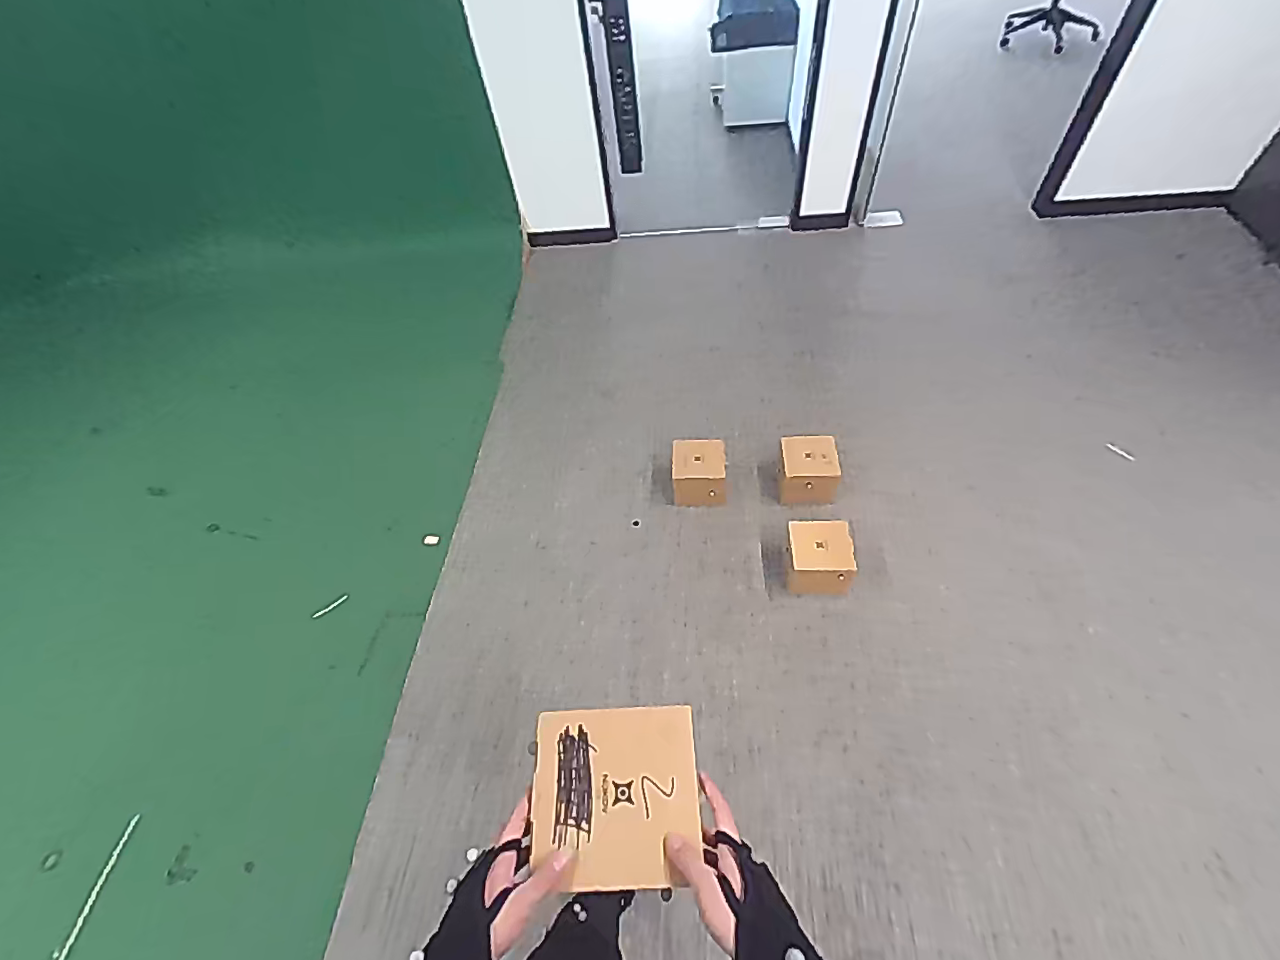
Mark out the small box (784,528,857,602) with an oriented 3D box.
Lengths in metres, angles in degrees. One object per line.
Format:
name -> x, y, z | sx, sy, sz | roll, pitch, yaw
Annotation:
small box -> 0.532, 0.257, 1.624 | 0.179, 0.176, 0.168 | 0, 53, 5

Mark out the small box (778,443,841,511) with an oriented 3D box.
small box -> 0.560, -0.006, 1.814 | 0.179, 0.176, 0.168 | -1, 54, 6

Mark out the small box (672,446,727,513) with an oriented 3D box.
small box -> 0.204, 0.000, 1.852 | 0.179, 0.176, 0.168 | 0, 53, 7
